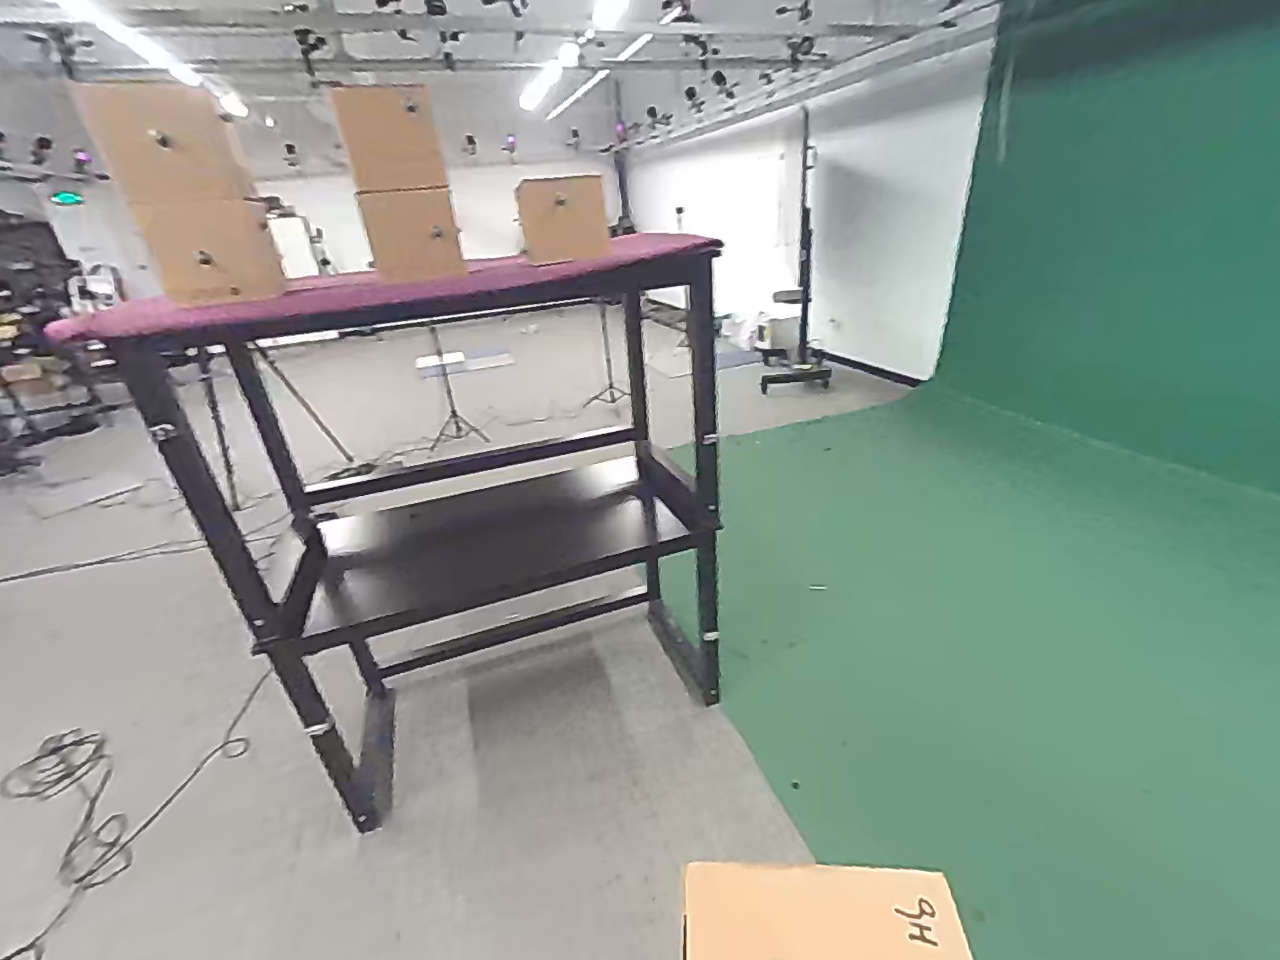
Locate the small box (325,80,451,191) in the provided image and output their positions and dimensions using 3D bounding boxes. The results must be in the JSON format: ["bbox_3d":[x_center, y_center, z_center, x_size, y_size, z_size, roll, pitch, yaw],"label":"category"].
[{"bbox_3d":[-0.483,-0.655,1.052,0.179,0.176,0.168,-15,28,-18],"label":"small box"}]

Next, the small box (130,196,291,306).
[{"bbox_3d":[-0.774,-0.423,1.001,0.168,0.176,0.179,-13,28,-18],"label":"small box"}]

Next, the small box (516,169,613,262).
[{"bbox_3d":[-0.173,-0.594,1.231,0.179,0.176,0.168,-13,26,-14],"label":"small box"}]

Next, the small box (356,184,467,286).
[{"bbox_3d":[-0.465,-0.509,1.123,0.179,0.176,0.168,-15,28,-17],"label":"small box"}]
